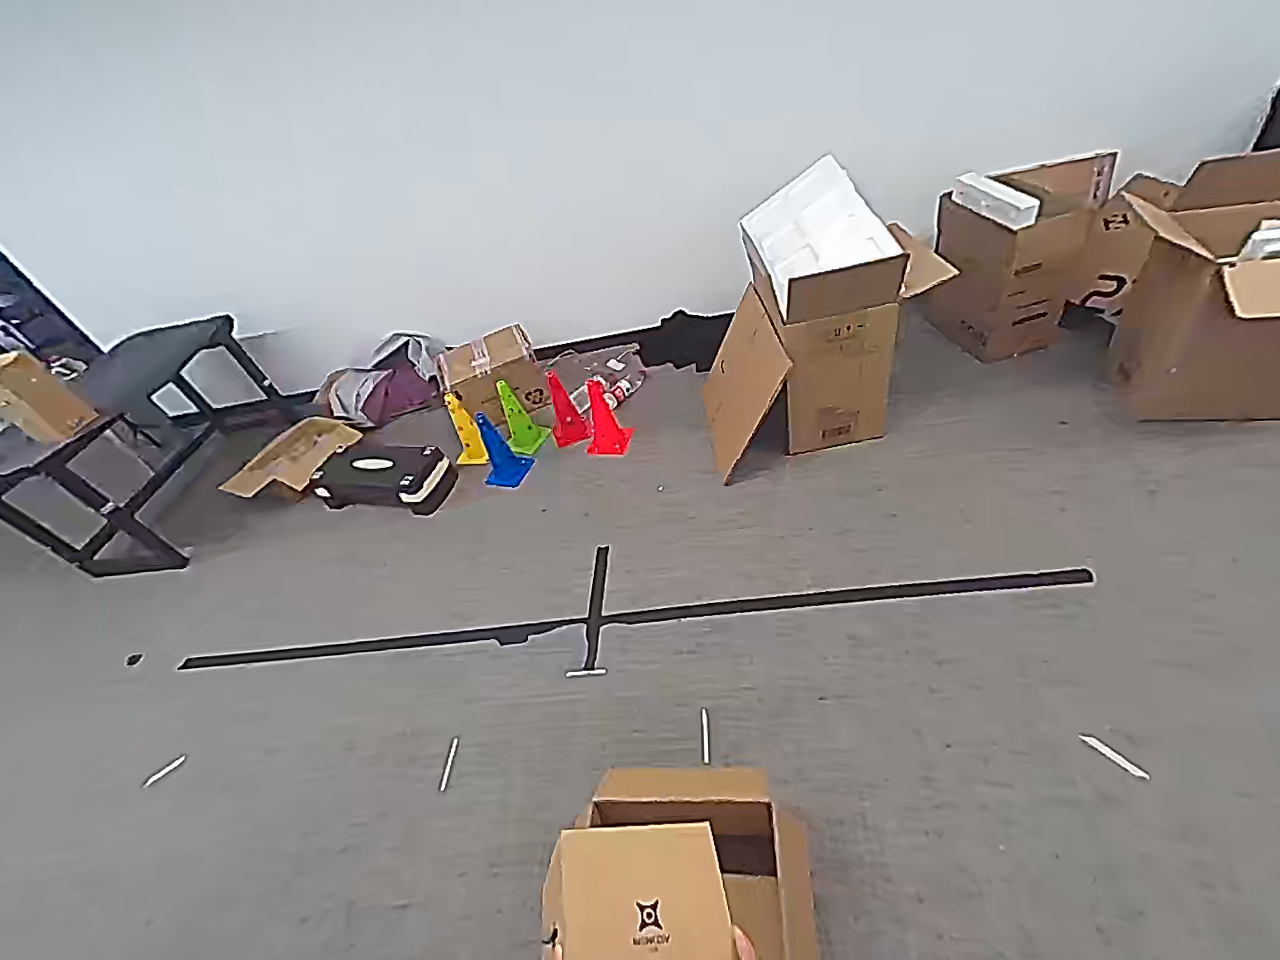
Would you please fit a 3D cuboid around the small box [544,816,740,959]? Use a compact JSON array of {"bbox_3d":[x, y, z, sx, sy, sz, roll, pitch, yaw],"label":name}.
[{"bbox_3d":[-0.008,0.476,0.551,0.168,0.176,0.179,5,37,-13],"label":"small box"}]
